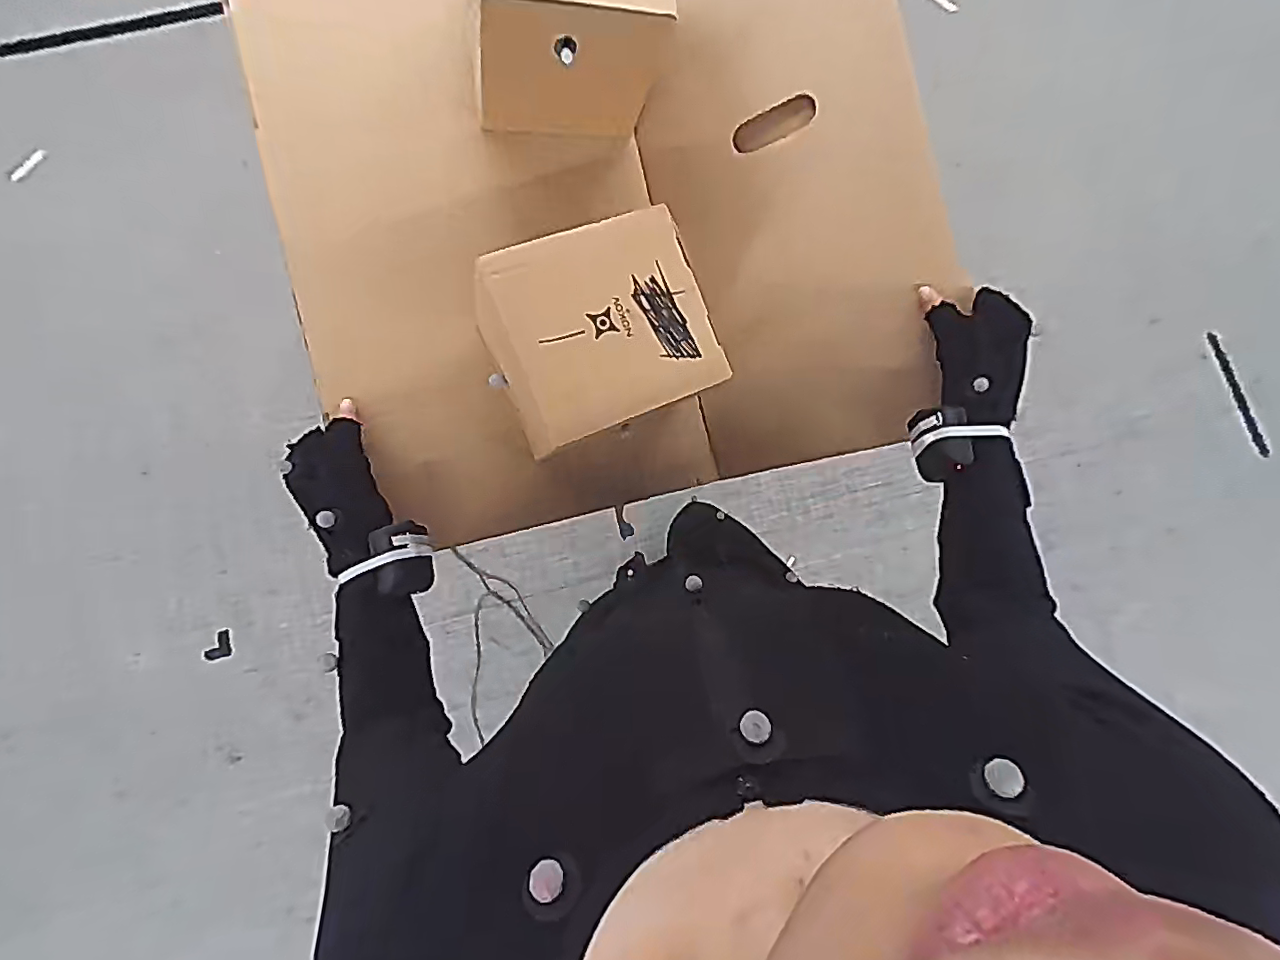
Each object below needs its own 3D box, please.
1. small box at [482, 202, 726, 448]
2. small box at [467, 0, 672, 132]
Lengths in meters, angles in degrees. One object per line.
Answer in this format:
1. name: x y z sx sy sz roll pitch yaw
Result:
1. small box: -0.047 -0.141 0.544 0.179 0.176 0.168 -23 94 -15
2. small box: -0.084 -0.488 0.549 0.179 0.176 0.168 -7 90 -17
